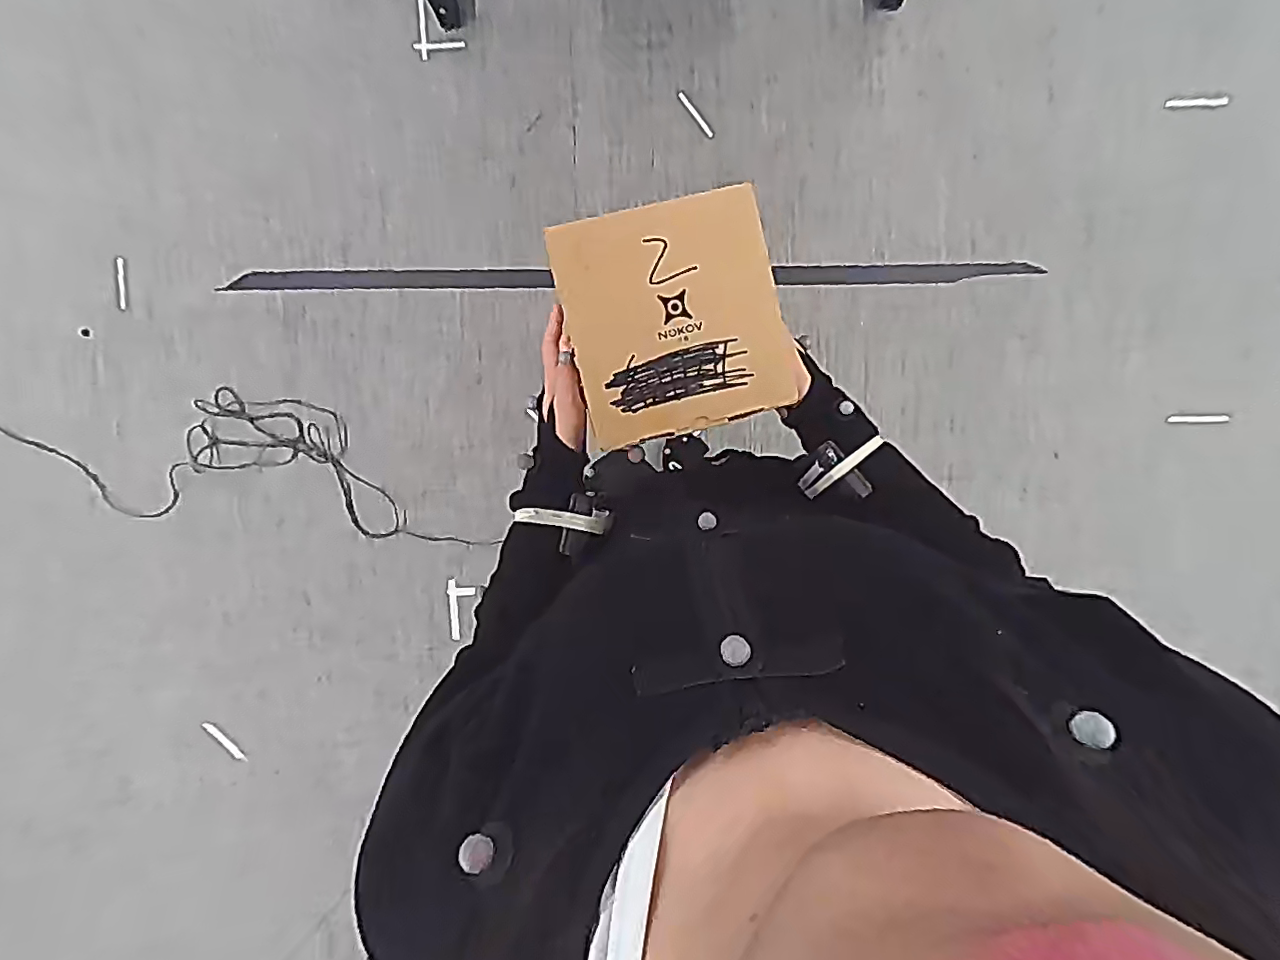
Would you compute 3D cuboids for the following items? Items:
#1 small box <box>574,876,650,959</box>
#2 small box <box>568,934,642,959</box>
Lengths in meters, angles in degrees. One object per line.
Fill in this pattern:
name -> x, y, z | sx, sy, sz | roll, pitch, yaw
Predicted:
small box -> -0.068, 1.111, 1.323 | 0.179, 0.176, 0.168 | 2, 93, 0
small box -> -0.079, 1.125, 1.161 | 0.168, 0.176, 0.179 | 1, 93, 1
